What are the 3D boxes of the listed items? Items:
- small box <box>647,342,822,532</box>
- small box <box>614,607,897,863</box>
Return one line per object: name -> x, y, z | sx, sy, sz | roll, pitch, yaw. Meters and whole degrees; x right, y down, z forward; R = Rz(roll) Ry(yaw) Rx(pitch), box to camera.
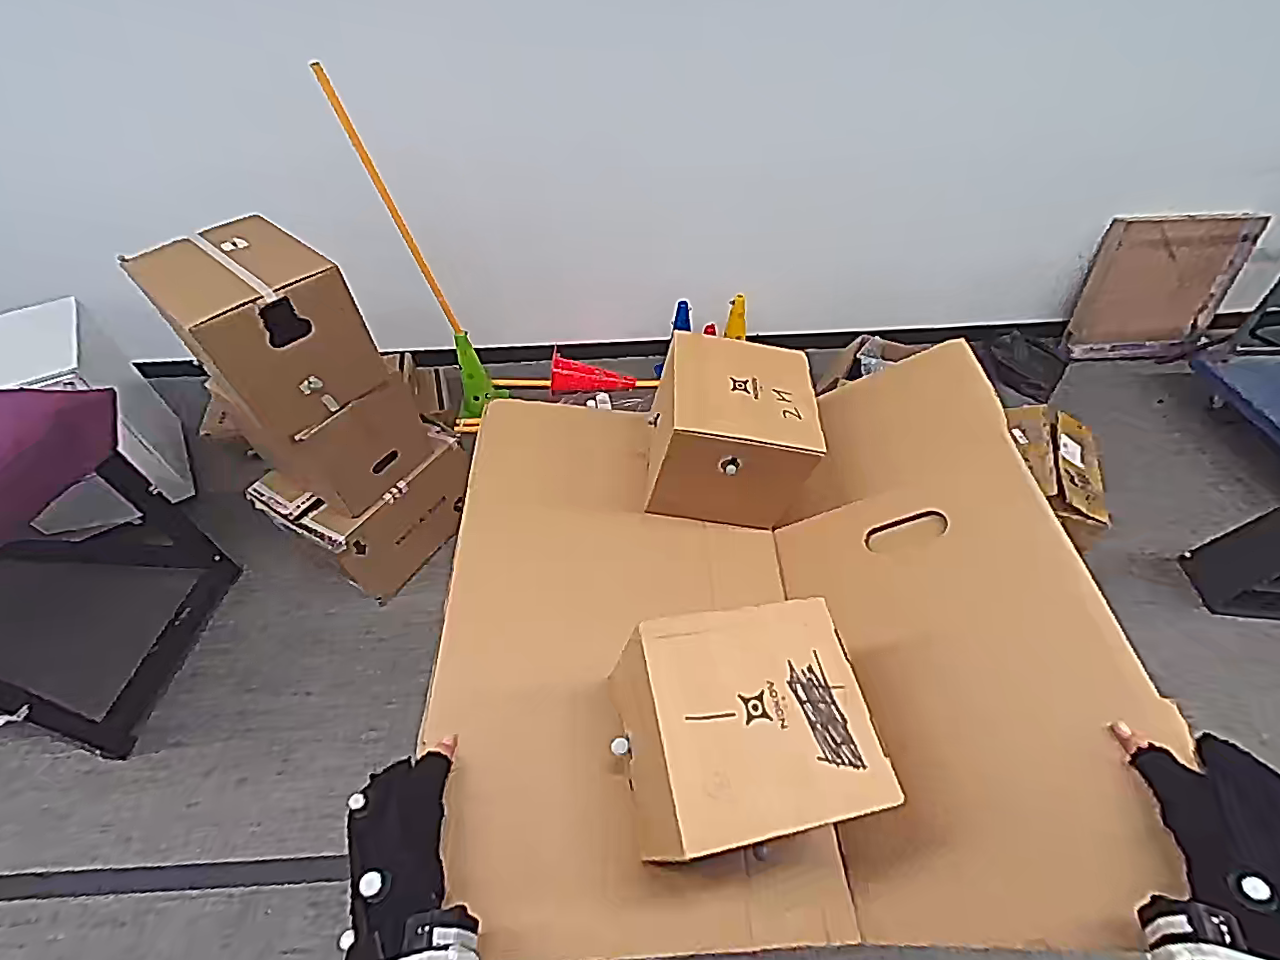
small box -> 0.109, -0.048, 0.701 | 0.179, 0.176, 0.168 | 9, 54, -7
small box -> 0.083, 0.231, 0.492 | 0.179, 0.176, 0.168 | -4, 56, -14
